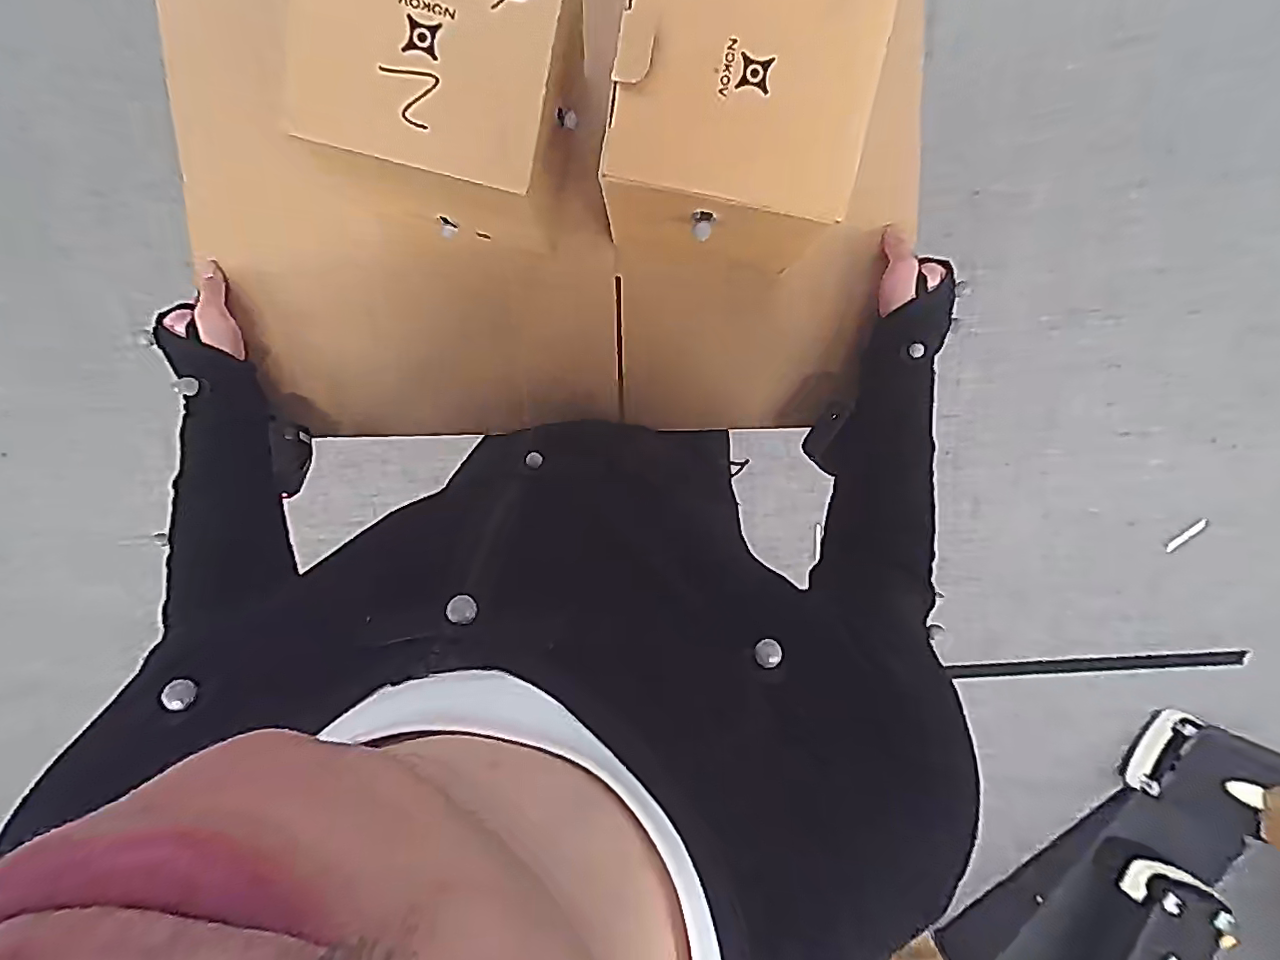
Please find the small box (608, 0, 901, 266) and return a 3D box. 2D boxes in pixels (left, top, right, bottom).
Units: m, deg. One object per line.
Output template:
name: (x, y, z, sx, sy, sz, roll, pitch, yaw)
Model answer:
small box: (0.080, -0.291, 0.452, 0.179, 0.176, 0.168, 11, 99, 1)
